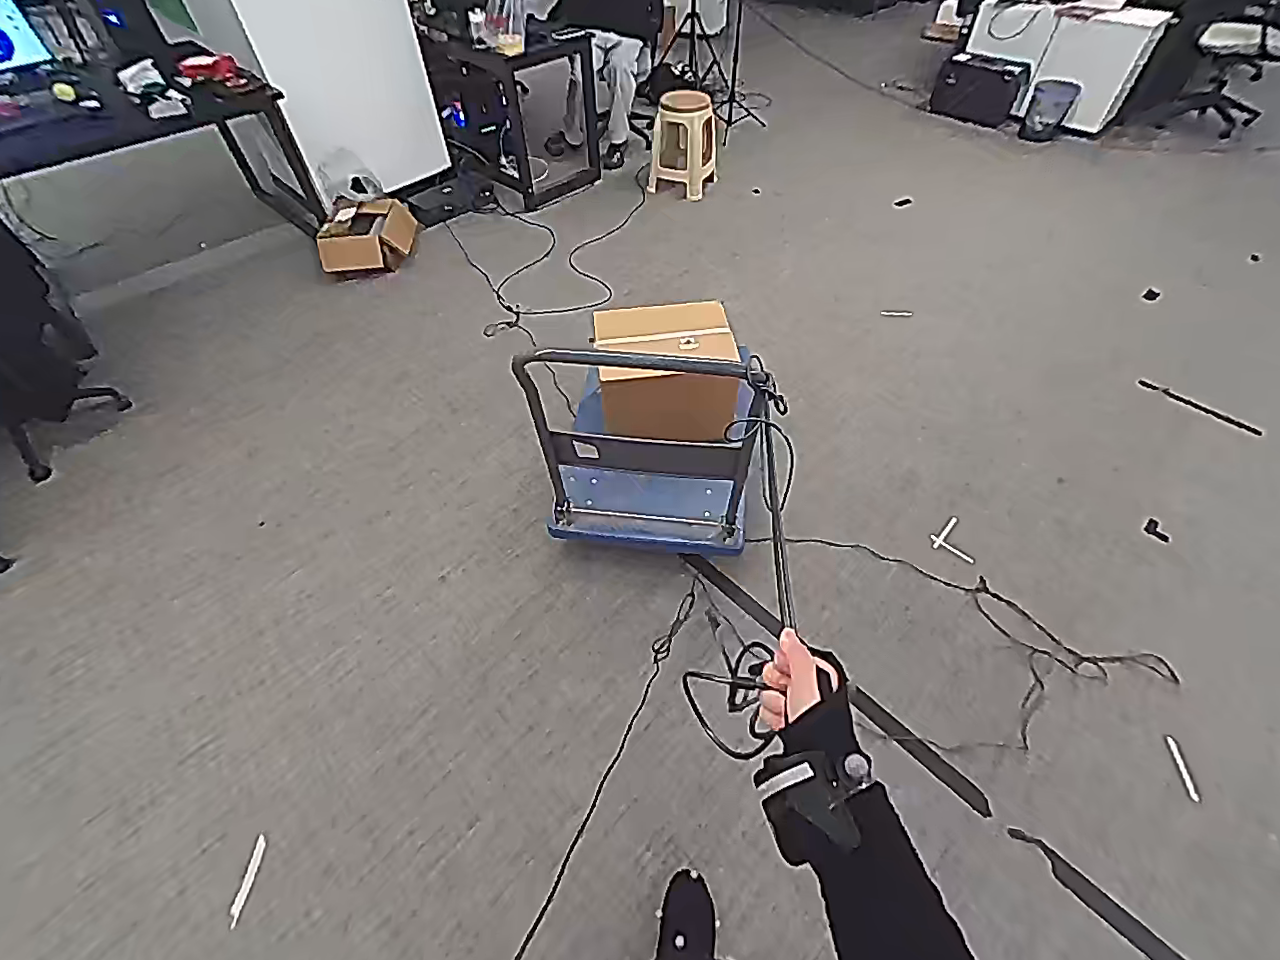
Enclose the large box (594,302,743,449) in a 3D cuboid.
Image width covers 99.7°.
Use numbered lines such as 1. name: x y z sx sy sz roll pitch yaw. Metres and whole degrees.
1. large box: 0.076 -0.324 1.704 0.408 0.320 0.320 -6 55 -3
